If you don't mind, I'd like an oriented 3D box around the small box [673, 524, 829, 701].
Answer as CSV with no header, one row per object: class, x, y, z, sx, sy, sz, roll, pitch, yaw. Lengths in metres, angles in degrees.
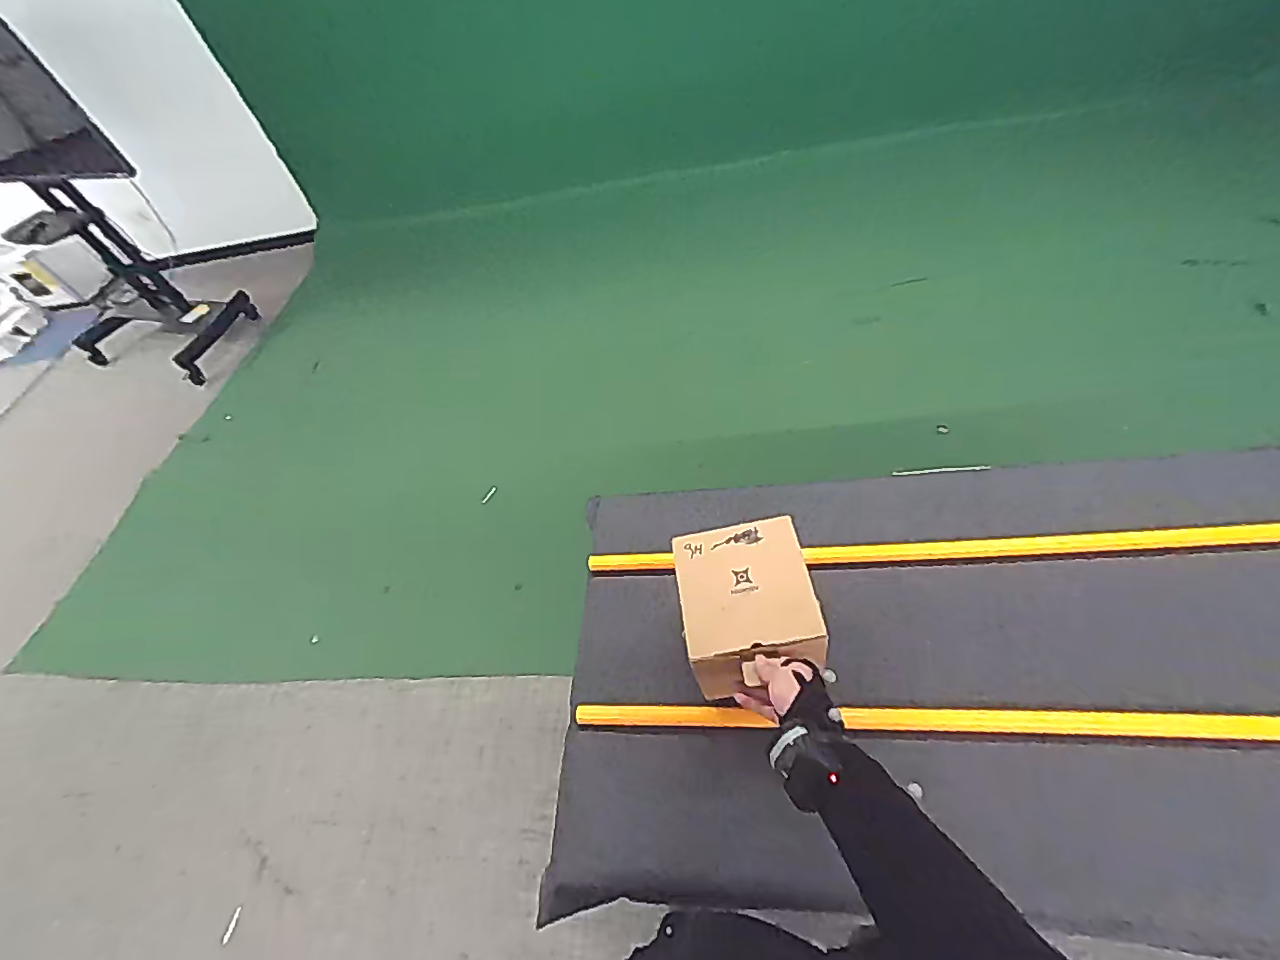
small box,0.154,0.192,0.748,0.168,0.176,0.179,-15,50,7
